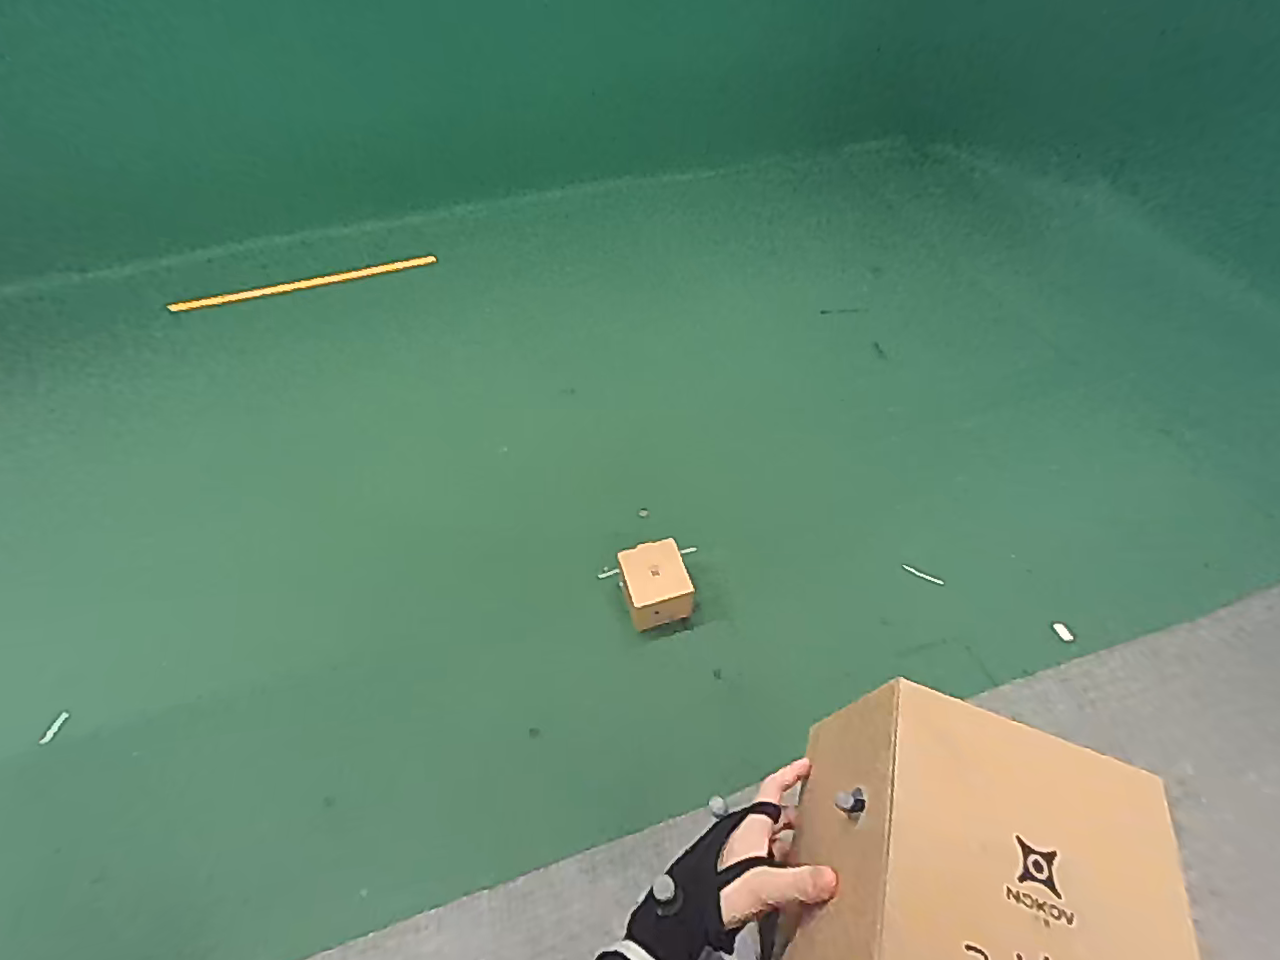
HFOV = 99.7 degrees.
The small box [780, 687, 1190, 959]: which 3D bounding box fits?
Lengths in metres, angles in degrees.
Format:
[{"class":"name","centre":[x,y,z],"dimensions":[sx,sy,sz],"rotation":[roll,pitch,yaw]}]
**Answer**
[{"class":"small box","centre":[0.208,0.274,0.364],"dimensions":[0.168,0.176,0.179],"rotation":[20,55,8]}]

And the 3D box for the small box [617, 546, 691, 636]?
[{"class":"small box","centre":[0.040,0.320,1.524],"dimensions":[0.168,0.176,0.179],"rotation":[-15,52,-9]}]
